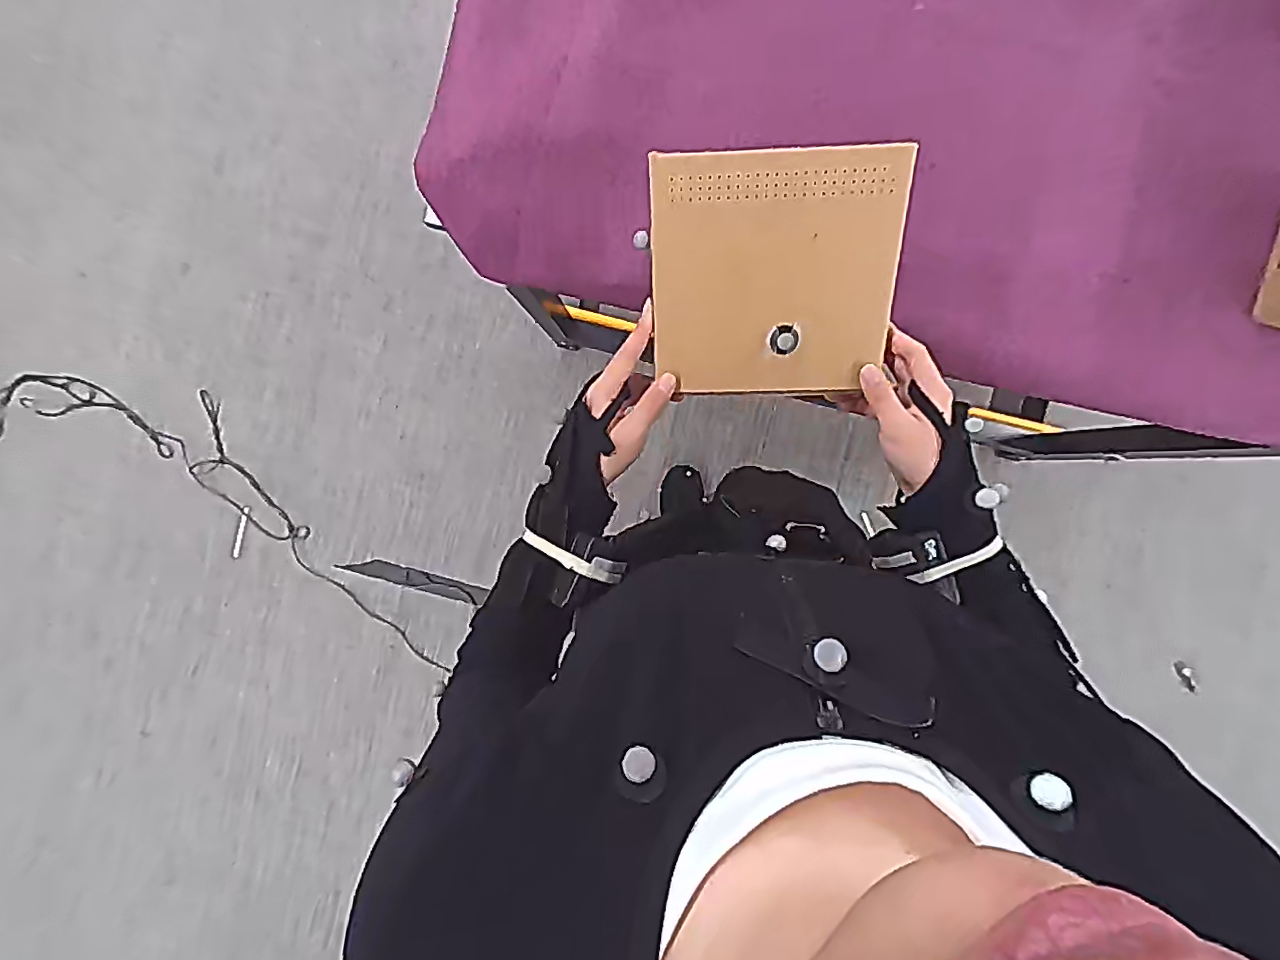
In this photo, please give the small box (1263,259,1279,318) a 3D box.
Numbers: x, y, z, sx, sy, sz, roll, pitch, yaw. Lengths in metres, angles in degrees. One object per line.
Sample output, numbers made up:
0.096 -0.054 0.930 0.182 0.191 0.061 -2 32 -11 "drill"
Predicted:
0.787 -0.235 0.519 0.179 0.176 0.168 17 91 1 "small box"
